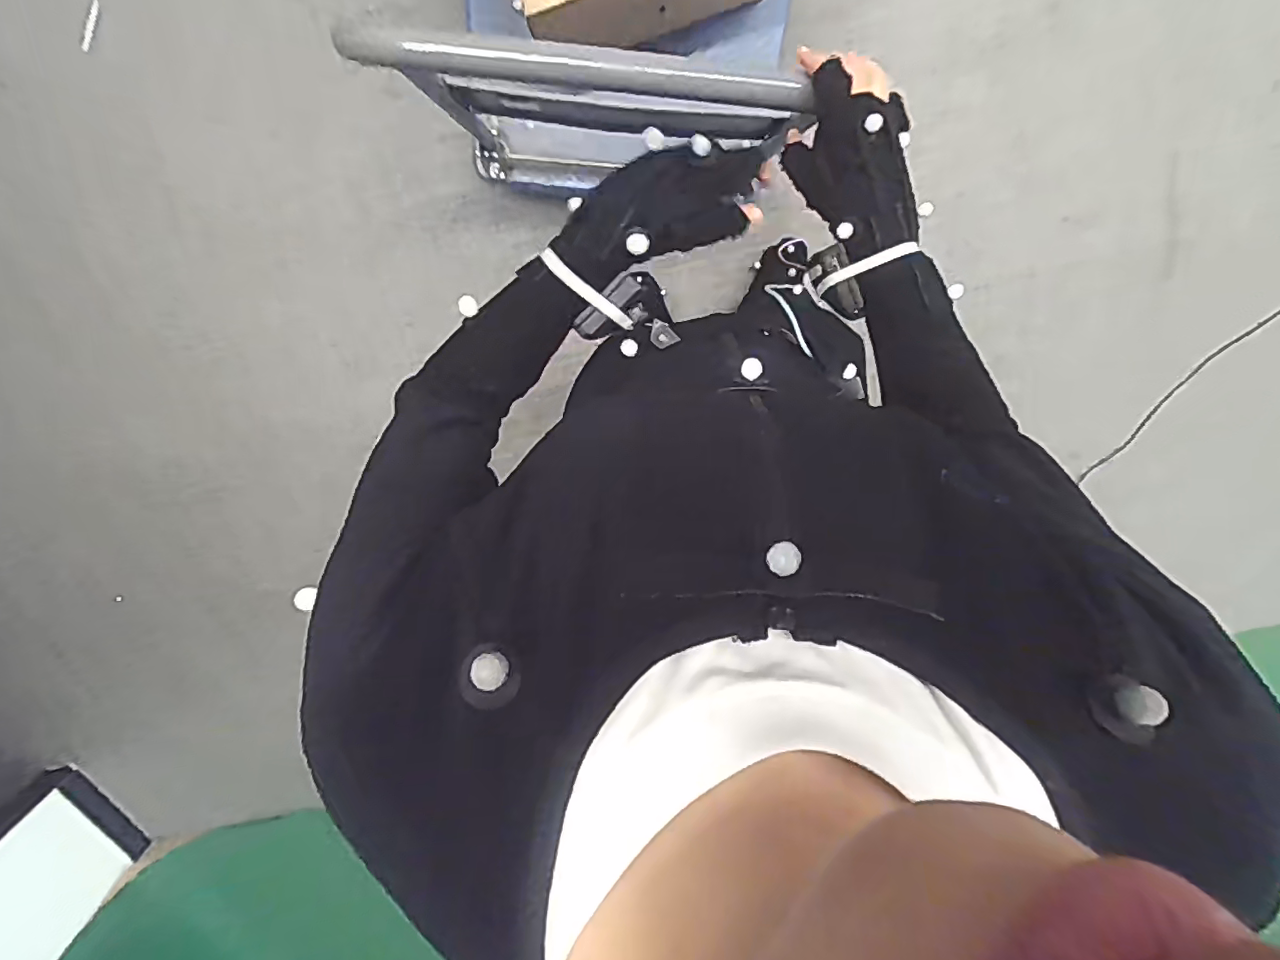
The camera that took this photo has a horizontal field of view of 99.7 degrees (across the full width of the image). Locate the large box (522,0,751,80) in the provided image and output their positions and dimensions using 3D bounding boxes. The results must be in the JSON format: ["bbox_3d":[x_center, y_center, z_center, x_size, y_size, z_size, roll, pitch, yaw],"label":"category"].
[{"bbox_3d":[-0.009,-0.877,0.803,0.408,0.320,0.320,-17,113,8],"label":"large box"}]
